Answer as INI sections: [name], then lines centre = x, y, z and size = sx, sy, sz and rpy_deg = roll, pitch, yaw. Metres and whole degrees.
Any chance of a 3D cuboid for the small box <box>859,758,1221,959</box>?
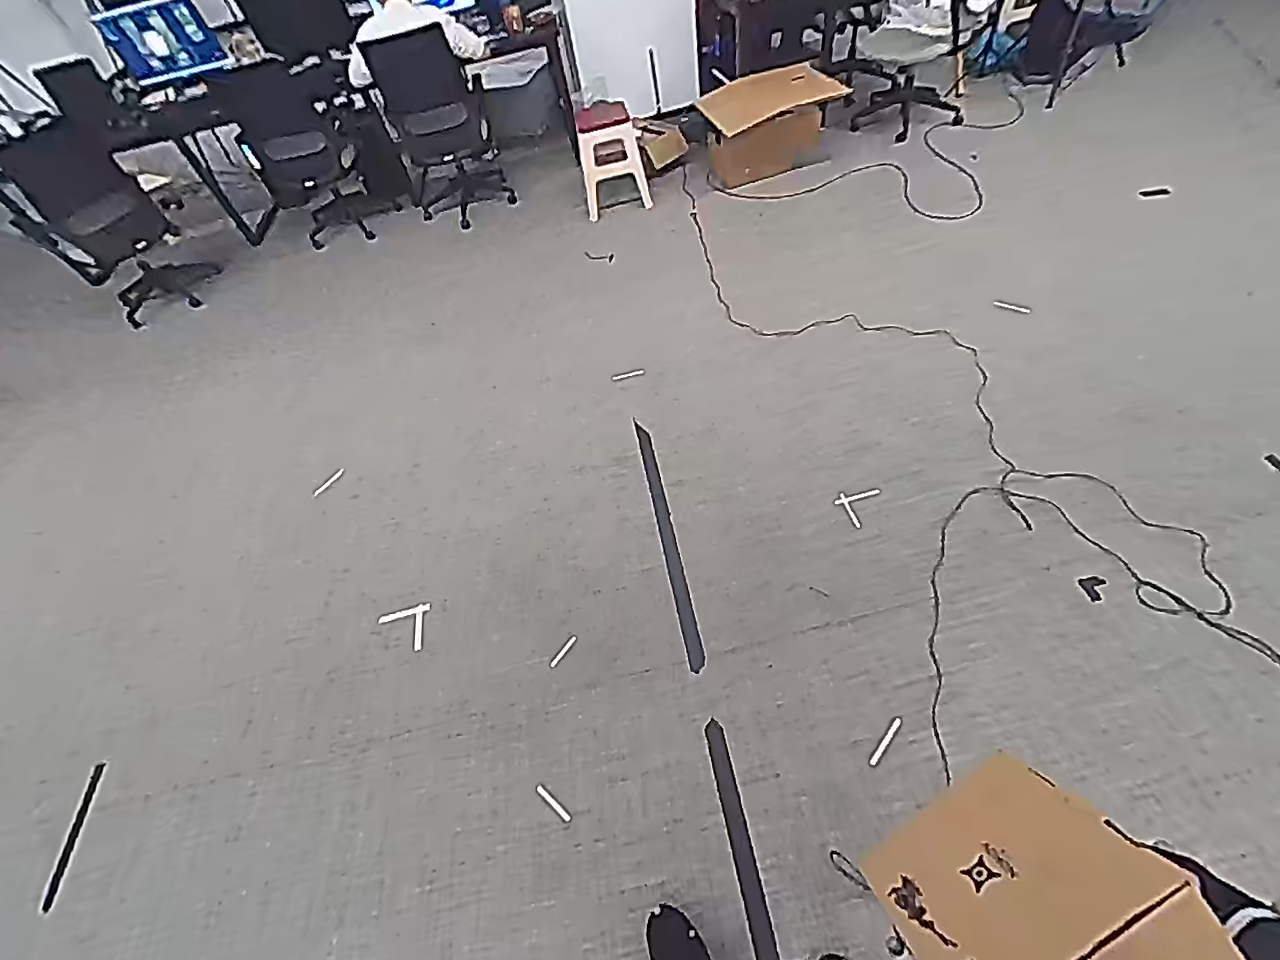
[small box]
centre = 0.323, 0.377, 0.432
size = 0.179, 0.168, 0.176
rpy_deg = -35, 91, -2
